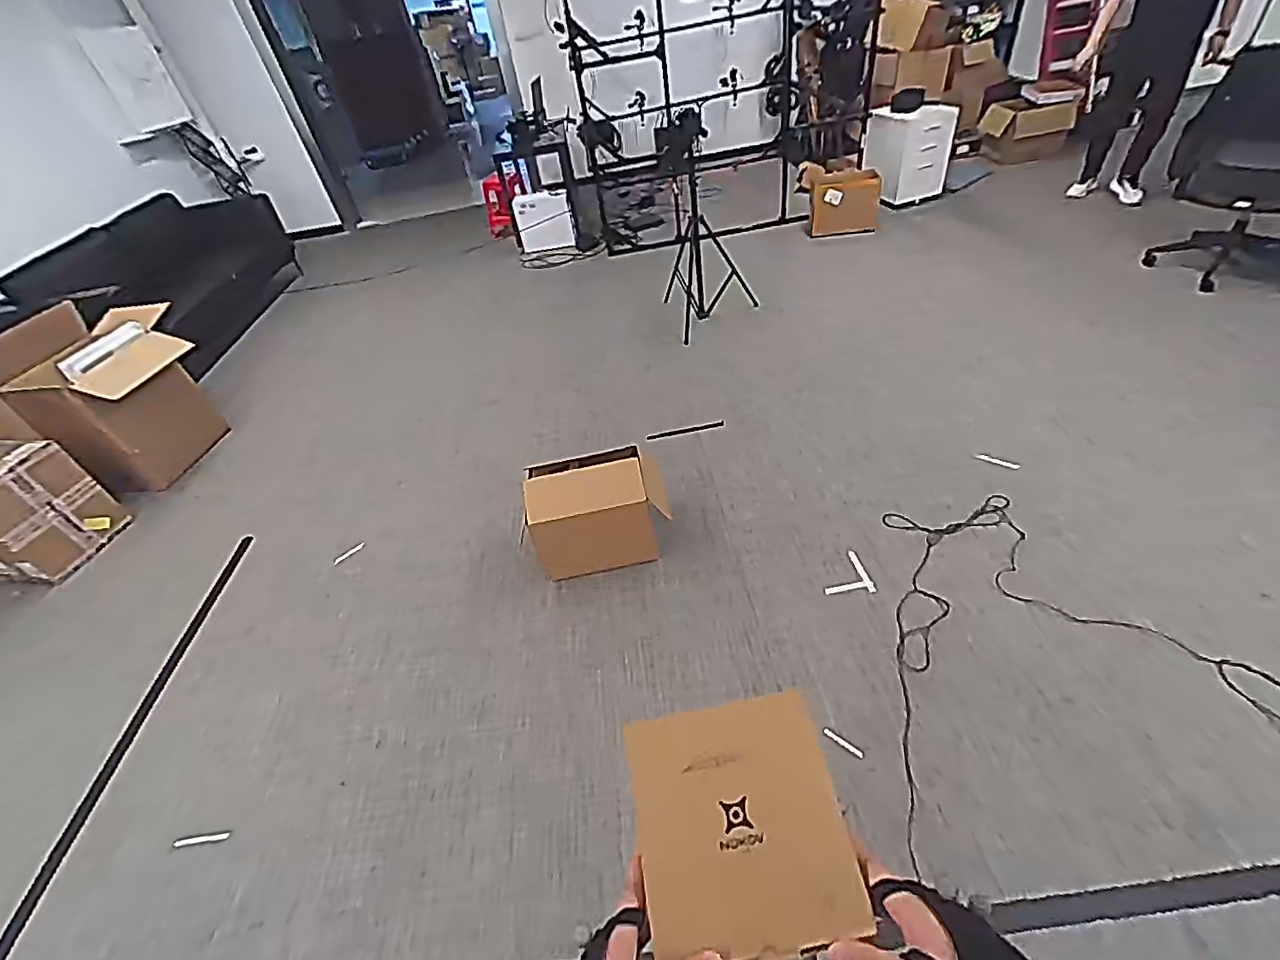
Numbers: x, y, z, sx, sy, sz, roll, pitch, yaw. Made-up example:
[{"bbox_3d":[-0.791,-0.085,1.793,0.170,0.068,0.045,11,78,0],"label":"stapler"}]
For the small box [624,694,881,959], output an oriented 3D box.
[{"bbox_3d":[0.087,0.318,0.492,0.168,0.176,0.179,-11,54,-2],"label":"small box"}]
